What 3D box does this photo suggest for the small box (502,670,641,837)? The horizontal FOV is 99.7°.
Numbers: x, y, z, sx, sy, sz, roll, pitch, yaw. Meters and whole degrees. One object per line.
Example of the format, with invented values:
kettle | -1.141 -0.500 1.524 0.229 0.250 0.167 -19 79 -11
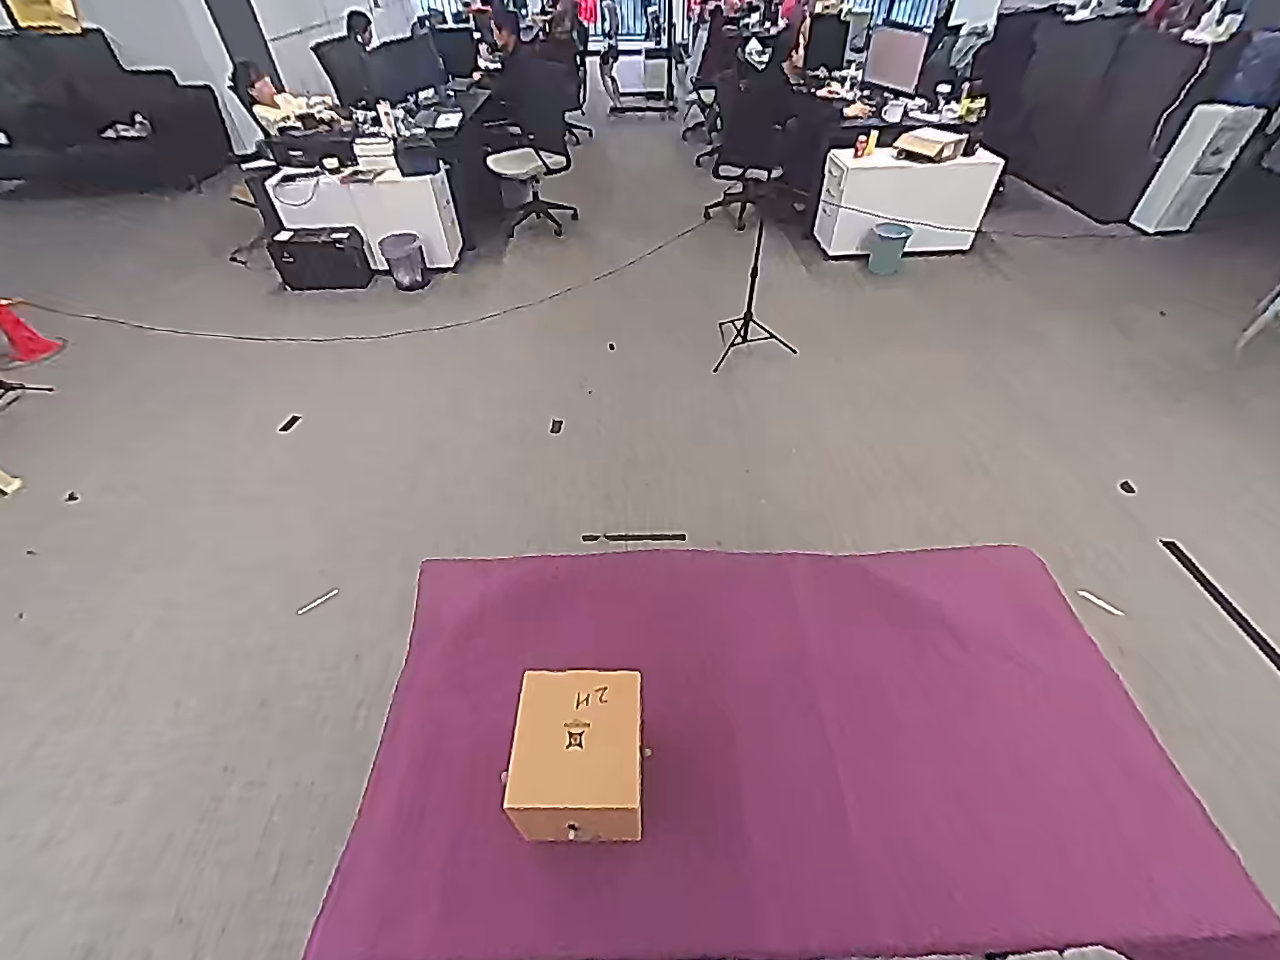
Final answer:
small box | -0.084 0.388 0.763 0.168 0.176 0.179 0 45 1
